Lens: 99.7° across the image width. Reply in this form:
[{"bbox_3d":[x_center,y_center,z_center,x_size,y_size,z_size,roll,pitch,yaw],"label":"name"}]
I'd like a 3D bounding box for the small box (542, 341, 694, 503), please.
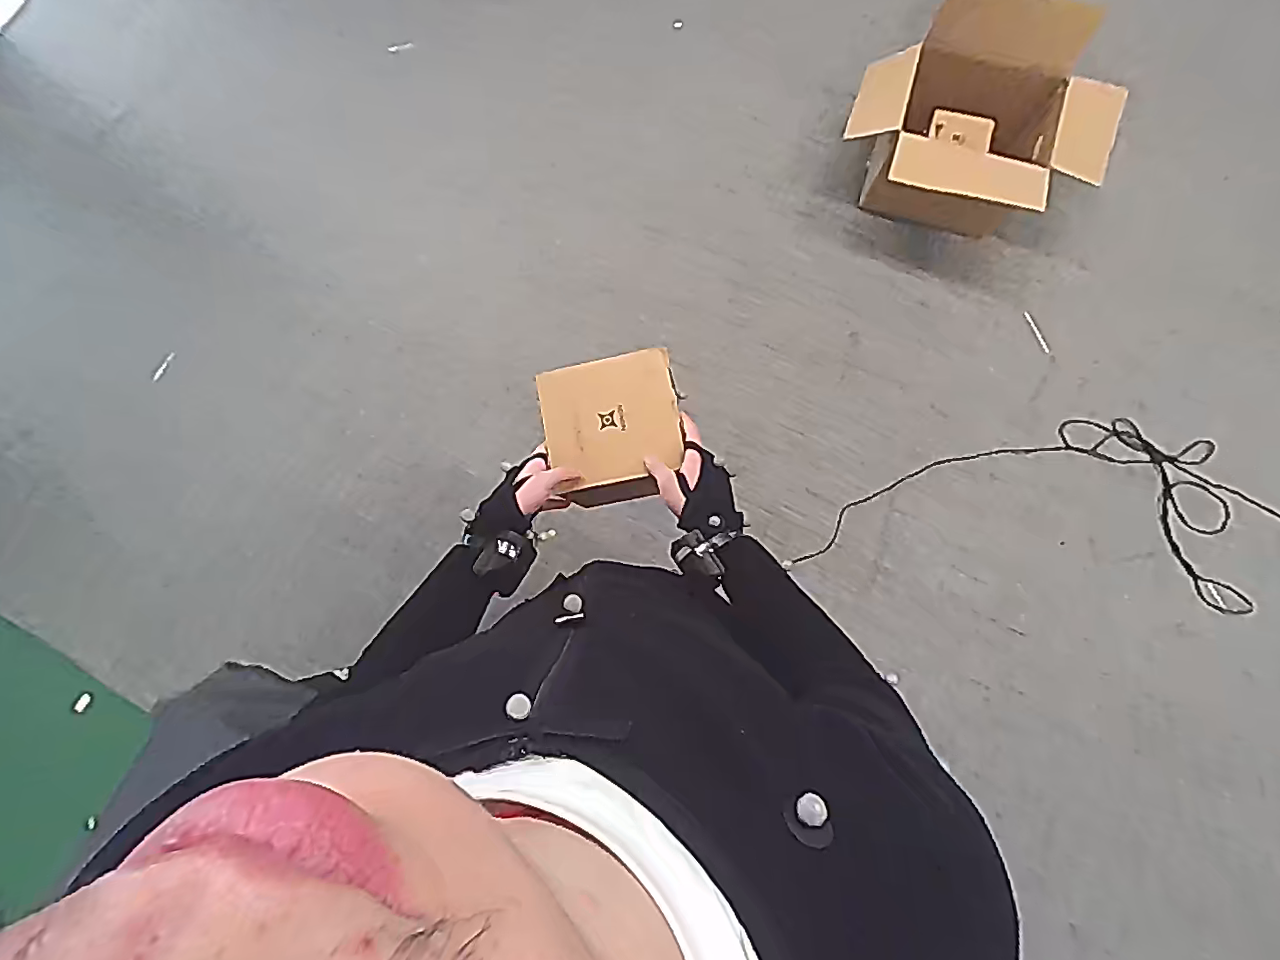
[{"bbox_3d":[-0.022,-0.069,0.752,0.179,0.176,0.168,-10,77,6],"label":"small box"}]
